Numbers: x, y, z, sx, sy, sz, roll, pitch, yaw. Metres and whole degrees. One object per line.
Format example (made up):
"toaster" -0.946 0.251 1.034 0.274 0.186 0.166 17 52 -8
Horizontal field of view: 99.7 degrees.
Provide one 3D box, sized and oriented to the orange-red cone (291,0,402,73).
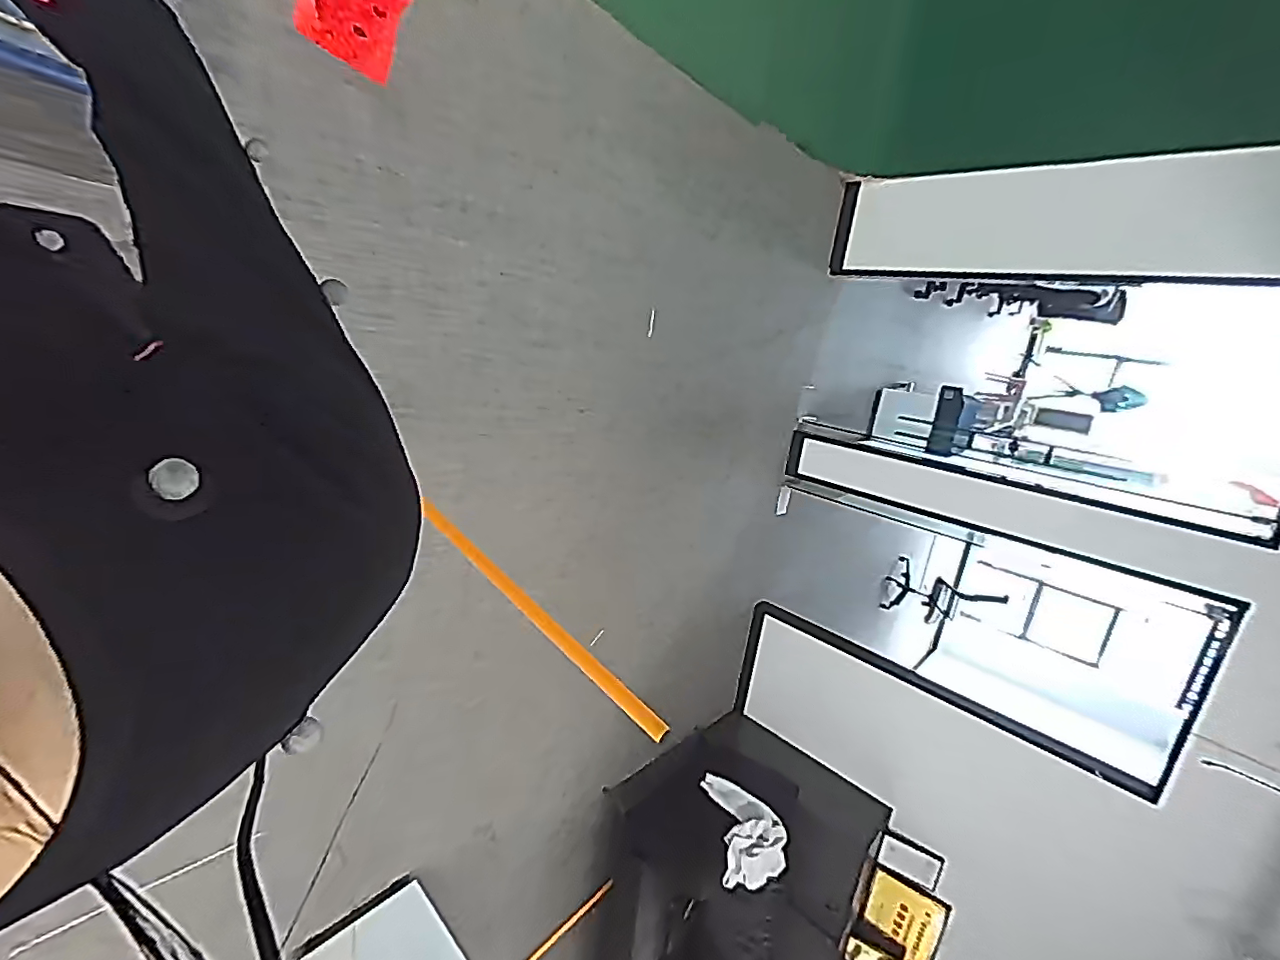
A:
"orange-red cone" -0.526 -1.007 1.091 0.198 0.360 0.199 10 99 -50
